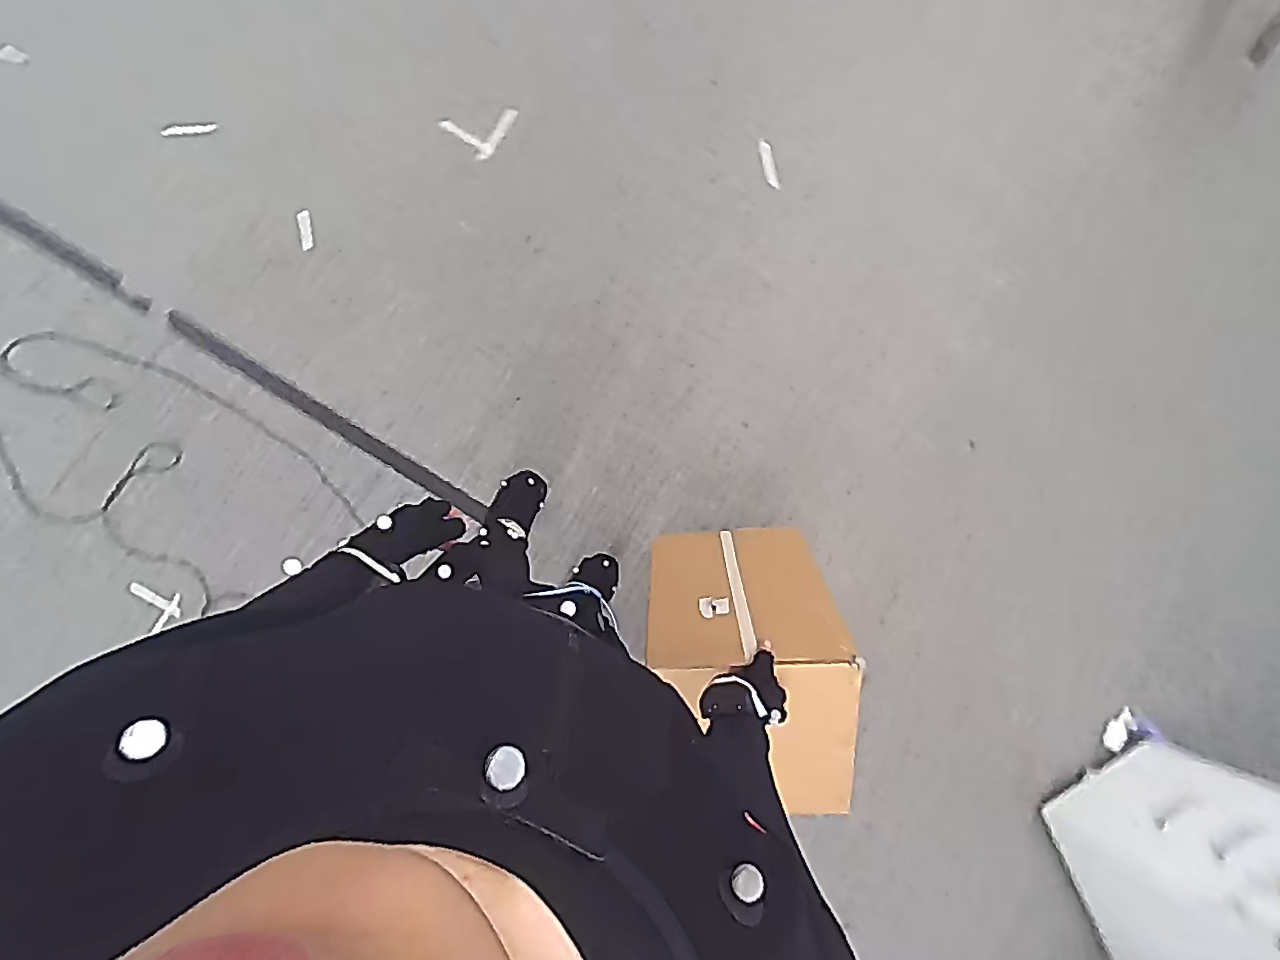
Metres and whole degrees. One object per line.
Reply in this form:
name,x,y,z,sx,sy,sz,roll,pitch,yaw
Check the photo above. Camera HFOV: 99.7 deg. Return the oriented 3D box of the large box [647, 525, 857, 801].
large box,0.184,0.322,1.030,0.320,0.408,0.320,-5,114,5
